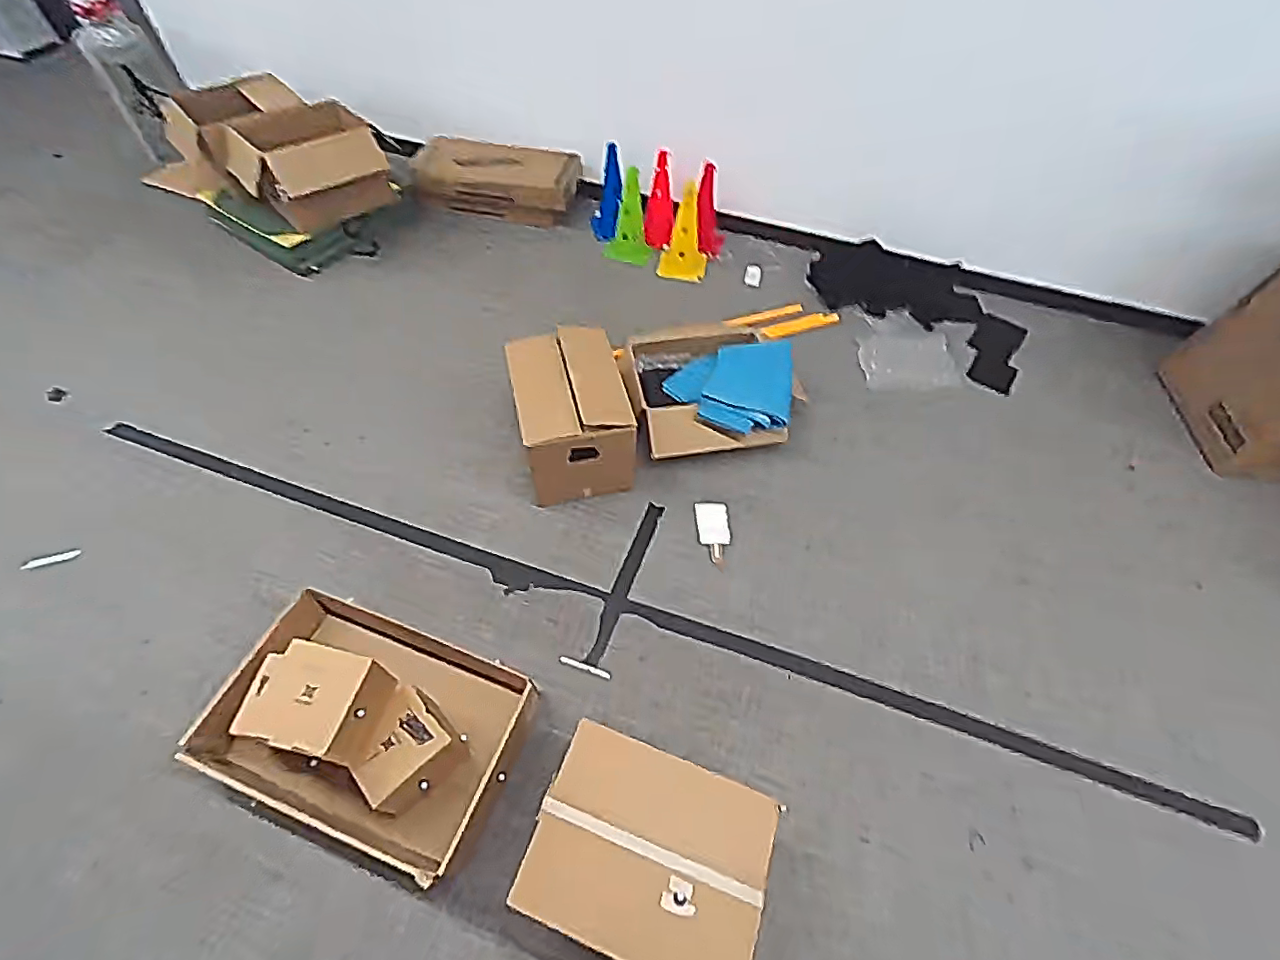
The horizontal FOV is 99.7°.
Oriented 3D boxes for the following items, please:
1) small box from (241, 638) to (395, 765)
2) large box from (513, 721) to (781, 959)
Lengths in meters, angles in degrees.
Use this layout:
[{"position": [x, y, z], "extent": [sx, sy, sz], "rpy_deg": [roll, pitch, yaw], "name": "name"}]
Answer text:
[{"position": [-0.606, 0.434, 1.048], "extent": [0.168, 0.176, 0.179], "rpy_deg": [13, 54, 4], "name": "small box"}, {"position": [0.014, 0.724, 1.059], "extent": [0.408, 0.320, 0.320], "rpy_deg": [19, 57, 9], "name": "large box"}]
